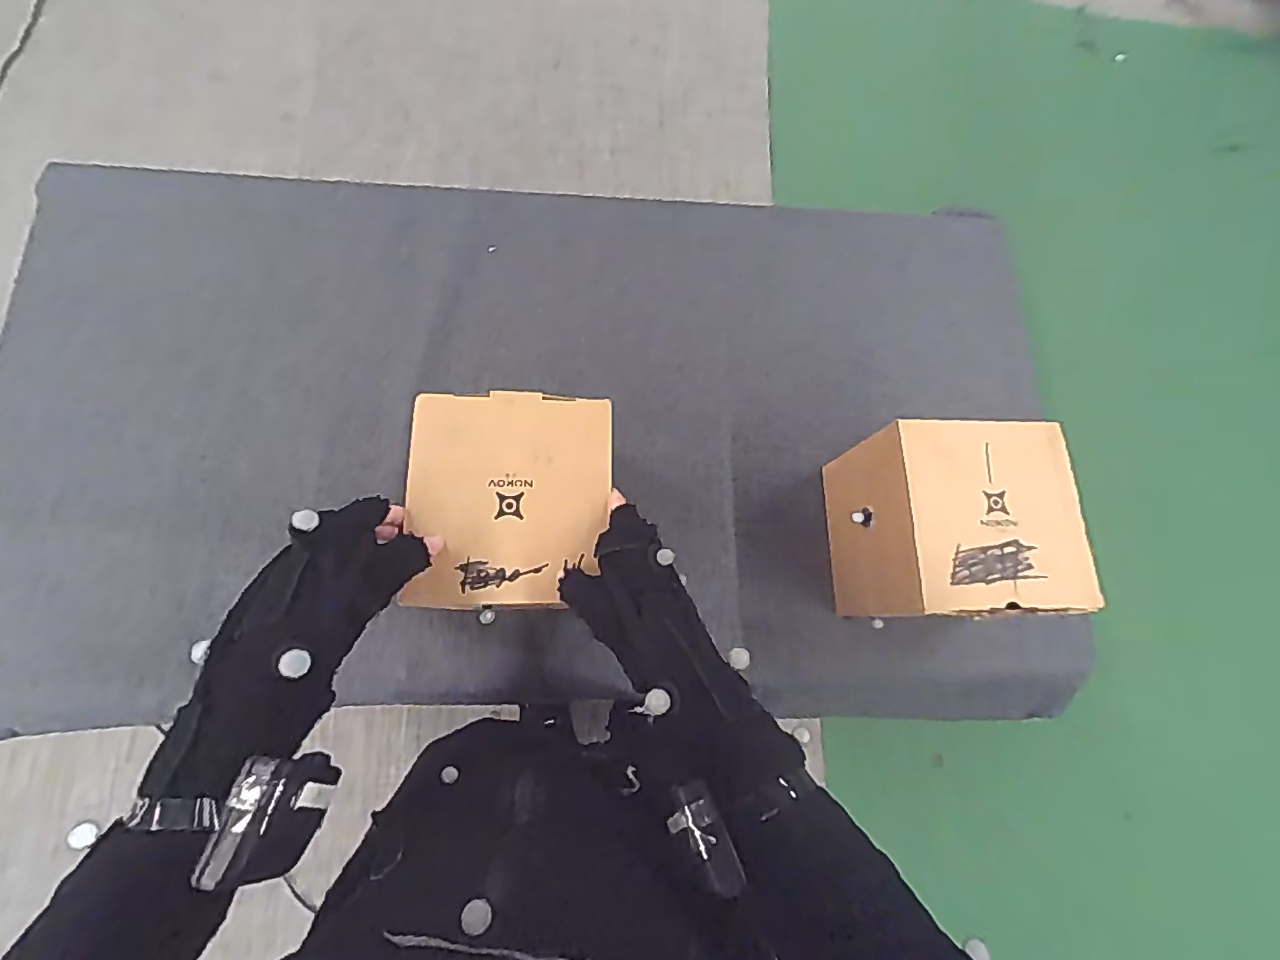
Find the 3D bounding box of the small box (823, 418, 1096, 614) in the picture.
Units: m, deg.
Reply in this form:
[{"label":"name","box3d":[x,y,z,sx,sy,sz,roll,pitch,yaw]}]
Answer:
[{"label":"small box","box3d":[0.307,0.048,0.560,0.168,0.176,0.179,1,75,-6]}]

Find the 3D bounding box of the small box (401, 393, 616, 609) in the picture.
[{"label":"small box","box3d":[-0.112,0.033,0.519,0.168,0.176,0.179,1,77,-6]}]
